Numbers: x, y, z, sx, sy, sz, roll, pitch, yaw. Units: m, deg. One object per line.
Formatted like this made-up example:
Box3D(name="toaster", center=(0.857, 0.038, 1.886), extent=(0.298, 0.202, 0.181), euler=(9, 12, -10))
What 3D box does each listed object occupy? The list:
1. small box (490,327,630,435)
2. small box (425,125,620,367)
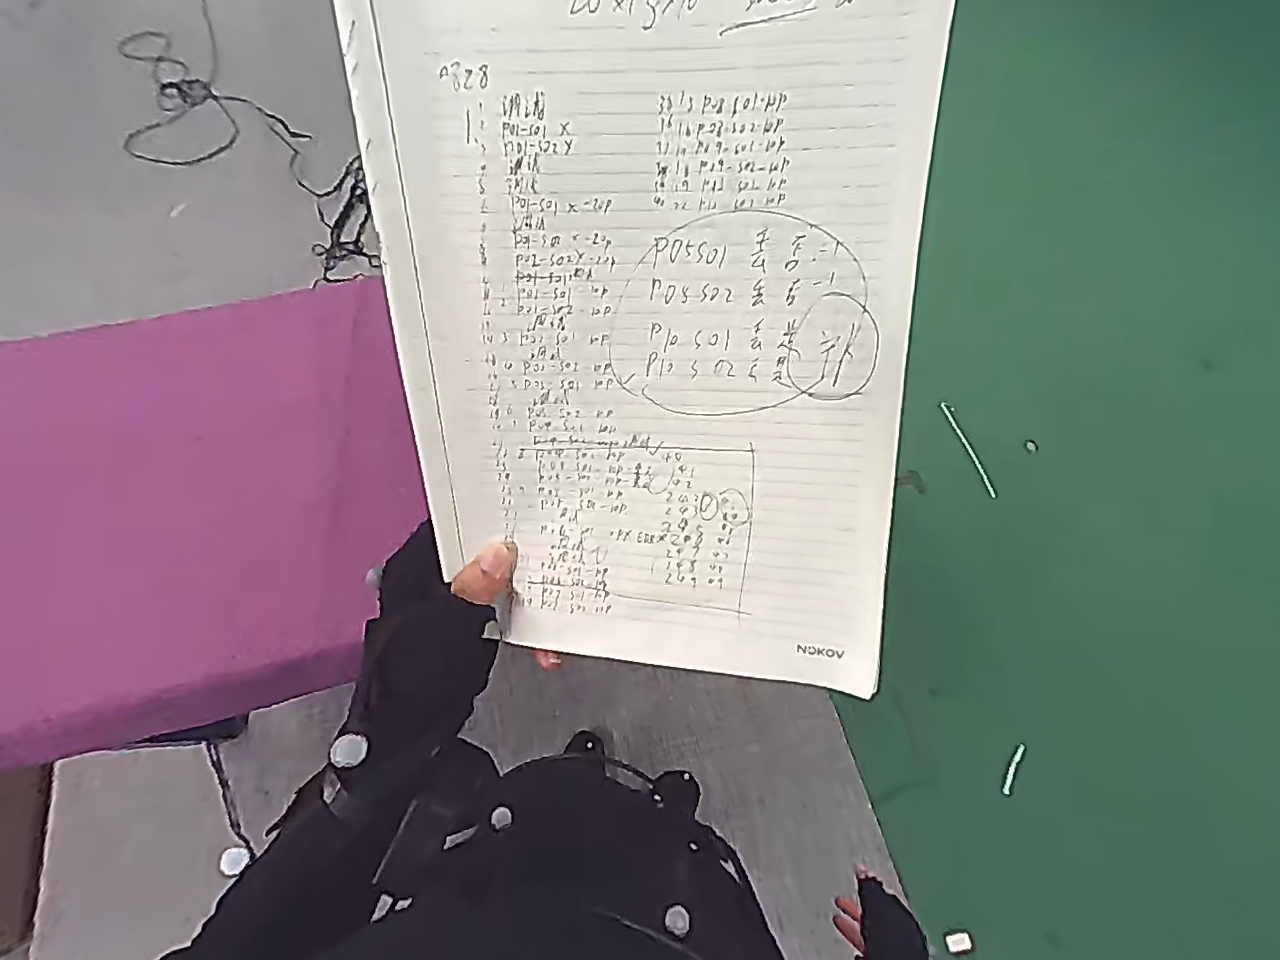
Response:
Box3D(name="small box", center=(-0.111, -0.177, 0.745), extent=(0.168, 0.176, 0.179), euler=(-12, 66, -5))
Box3D(name="small box", center=(-0.119, -0.242, 0.594), extent=(0.168, 0.176, 0.179), euler=(-12, 67, -5))
